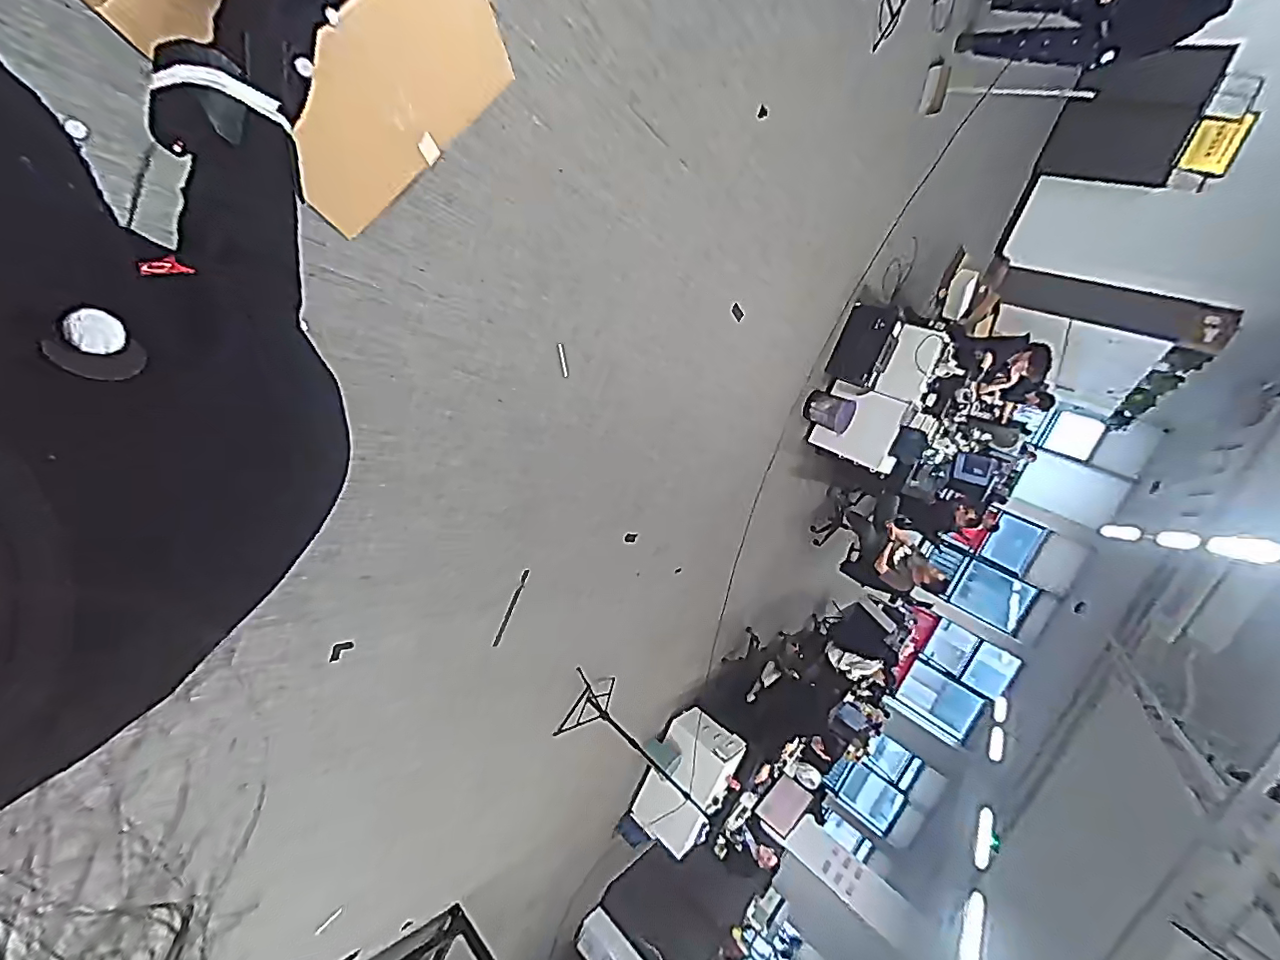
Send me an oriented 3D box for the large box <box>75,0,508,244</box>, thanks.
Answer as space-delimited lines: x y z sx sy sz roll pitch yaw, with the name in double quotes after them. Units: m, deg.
-0.428 -0.563 0.599 0.320 0.408 0.320 -46 171 -2 "large box"
